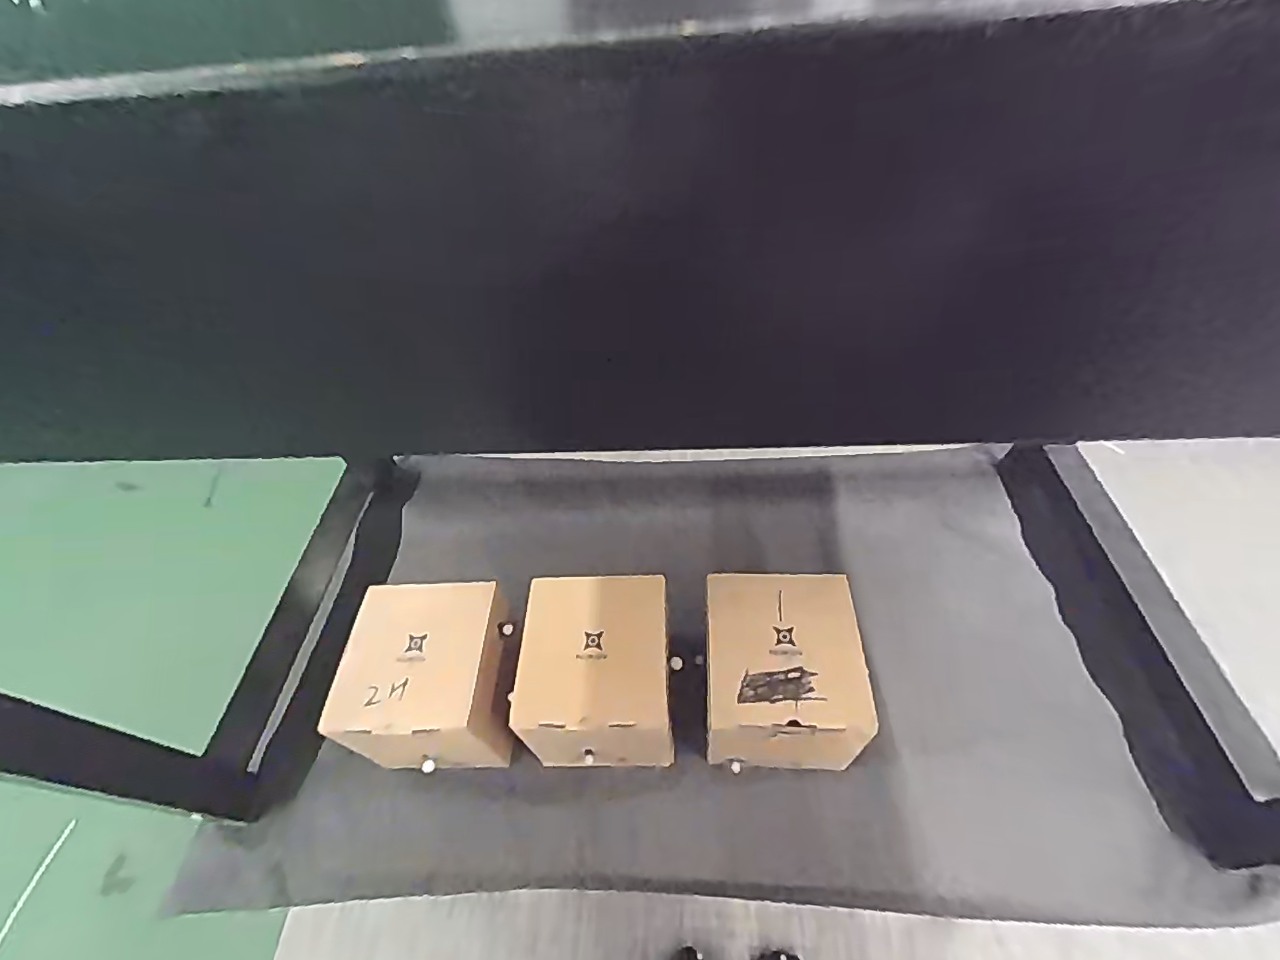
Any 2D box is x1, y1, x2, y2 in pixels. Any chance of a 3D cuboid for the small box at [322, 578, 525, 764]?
[{"bbox_3d":[-0.251,0.242,0.683,0.168,0.176,0.179,-3,50,4],"label":"small box"}]
